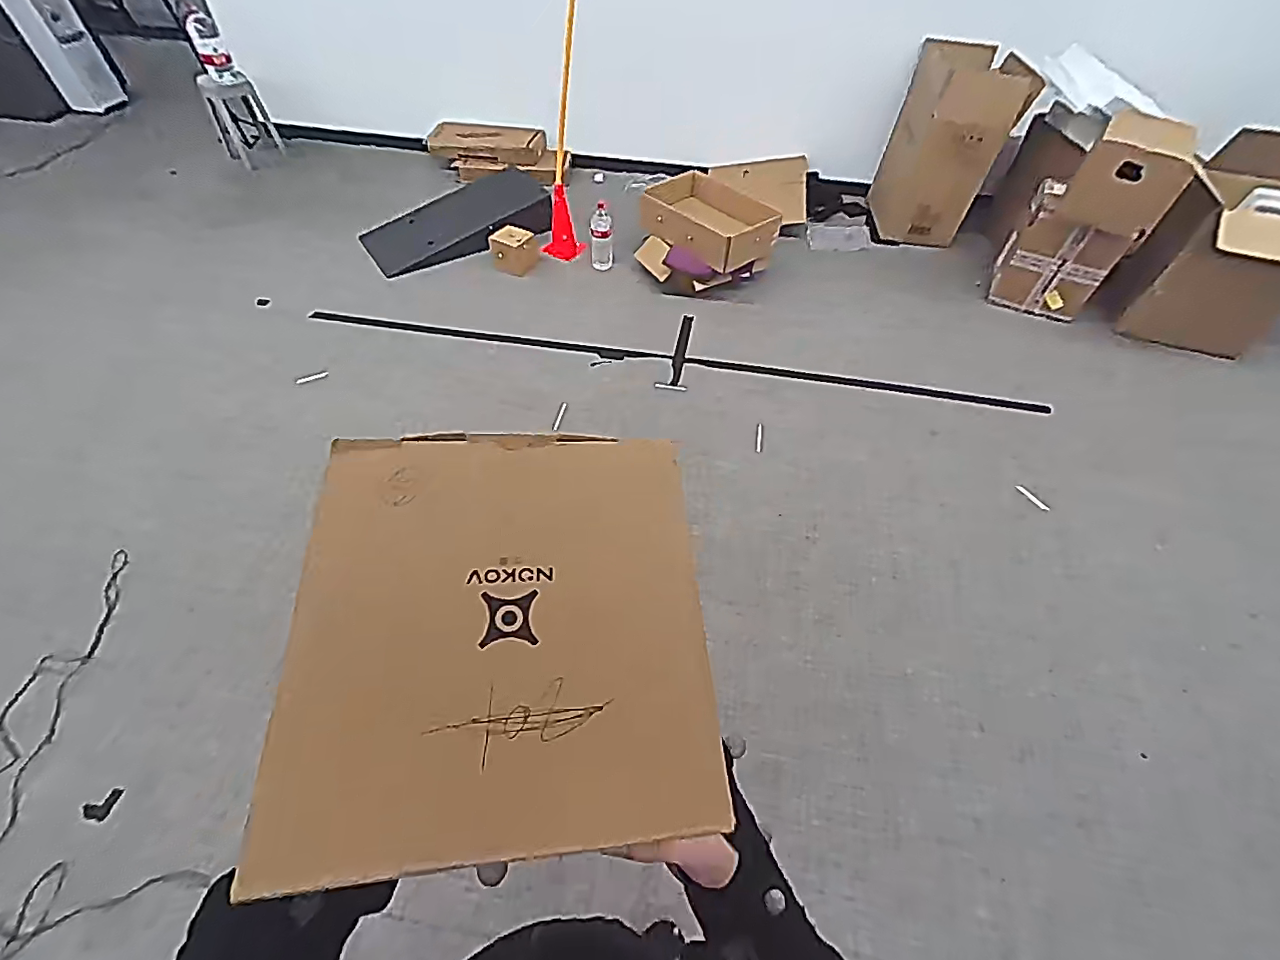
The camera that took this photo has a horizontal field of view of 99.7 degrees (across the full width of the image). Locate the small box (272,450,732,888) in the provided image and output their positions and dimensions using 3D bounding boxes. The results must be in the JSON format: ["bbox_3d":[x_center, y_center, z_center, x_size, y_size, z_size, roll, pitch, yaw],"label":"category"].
[{"bbox_3d":[-0.065,0.101,0.304,0.168,0.176,0.179,-3,60,-10],"label":"small box"}]
